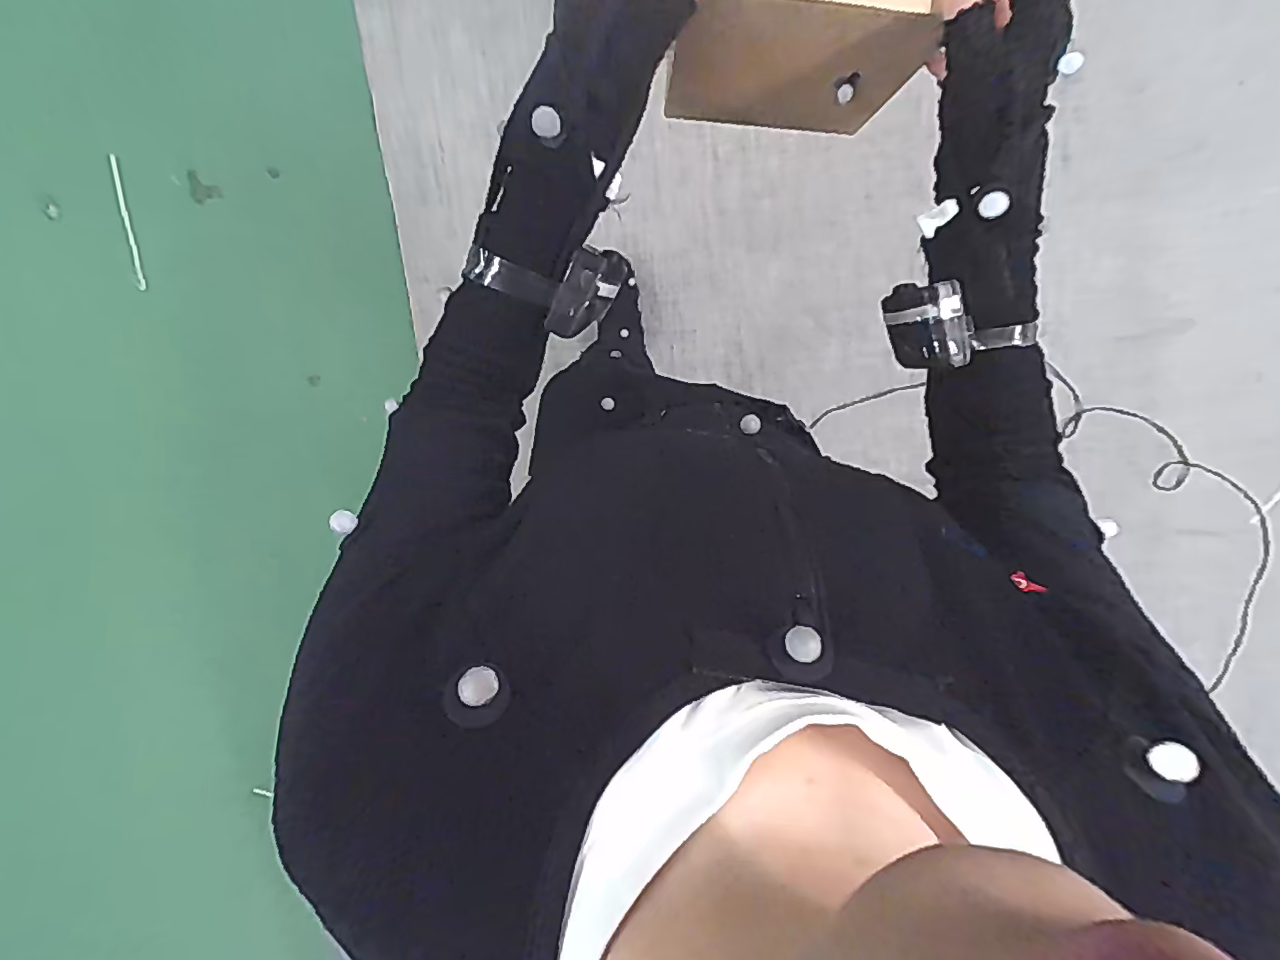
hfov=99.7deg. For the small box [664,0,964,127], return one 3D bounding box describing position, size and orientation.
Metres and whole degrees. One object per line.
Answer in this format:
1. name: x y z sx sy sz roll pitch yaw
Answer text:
1. small box: 0.114 -0.384 0.392 0.179 0.176 0.168 2 100 -1
